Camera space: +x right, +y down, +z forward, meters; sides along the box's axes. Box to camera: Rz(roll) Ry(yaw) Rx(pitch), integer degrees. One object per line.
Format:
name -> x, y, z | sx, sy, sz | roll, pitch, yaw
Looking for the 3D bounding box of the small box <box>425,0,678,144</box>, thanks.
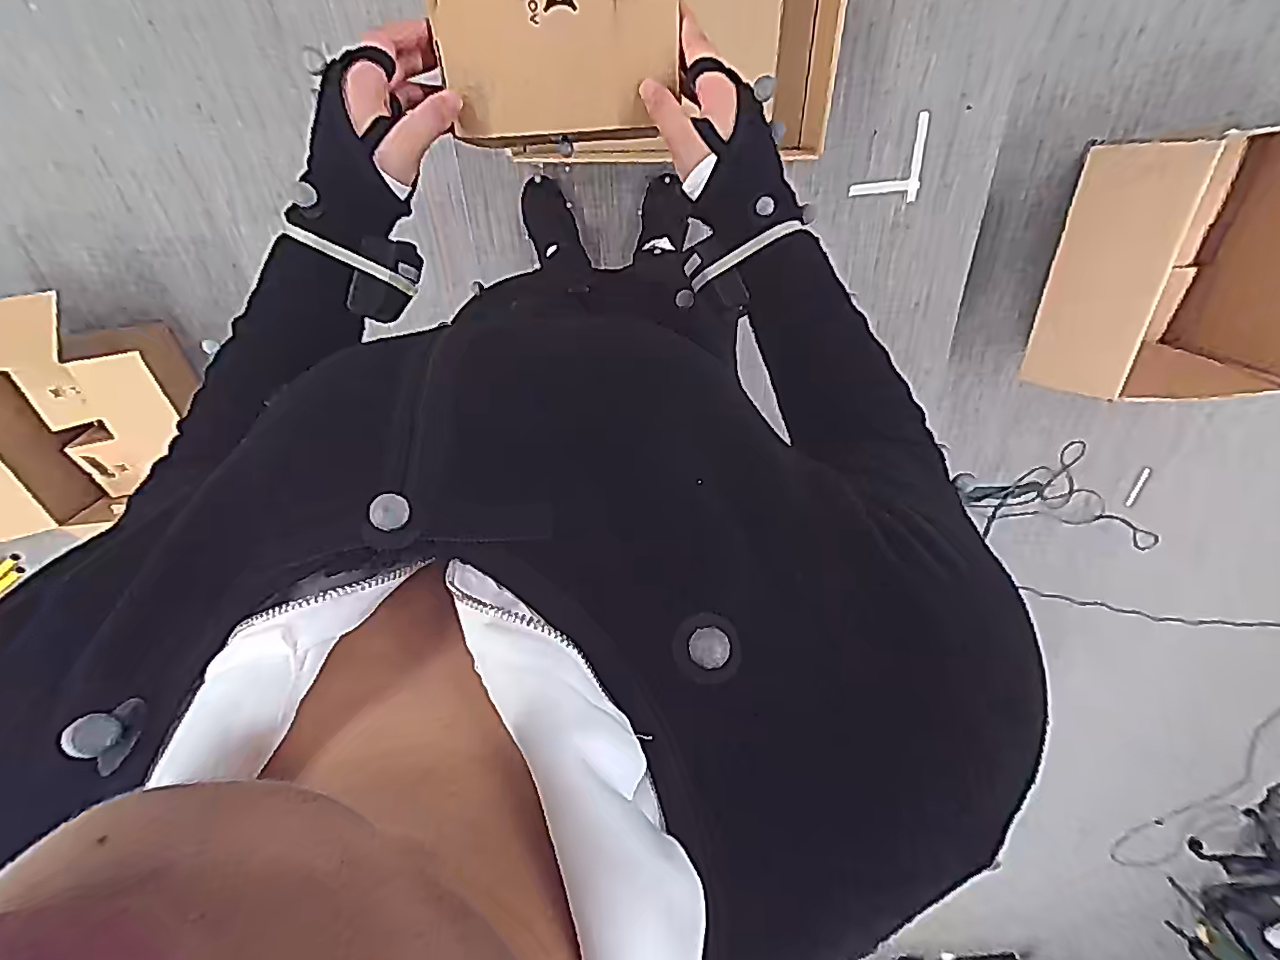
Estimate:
small box -> -0.068, -0.379, 0.440 | 0.179, 0.176, 0.168 | -6, 120, -2
